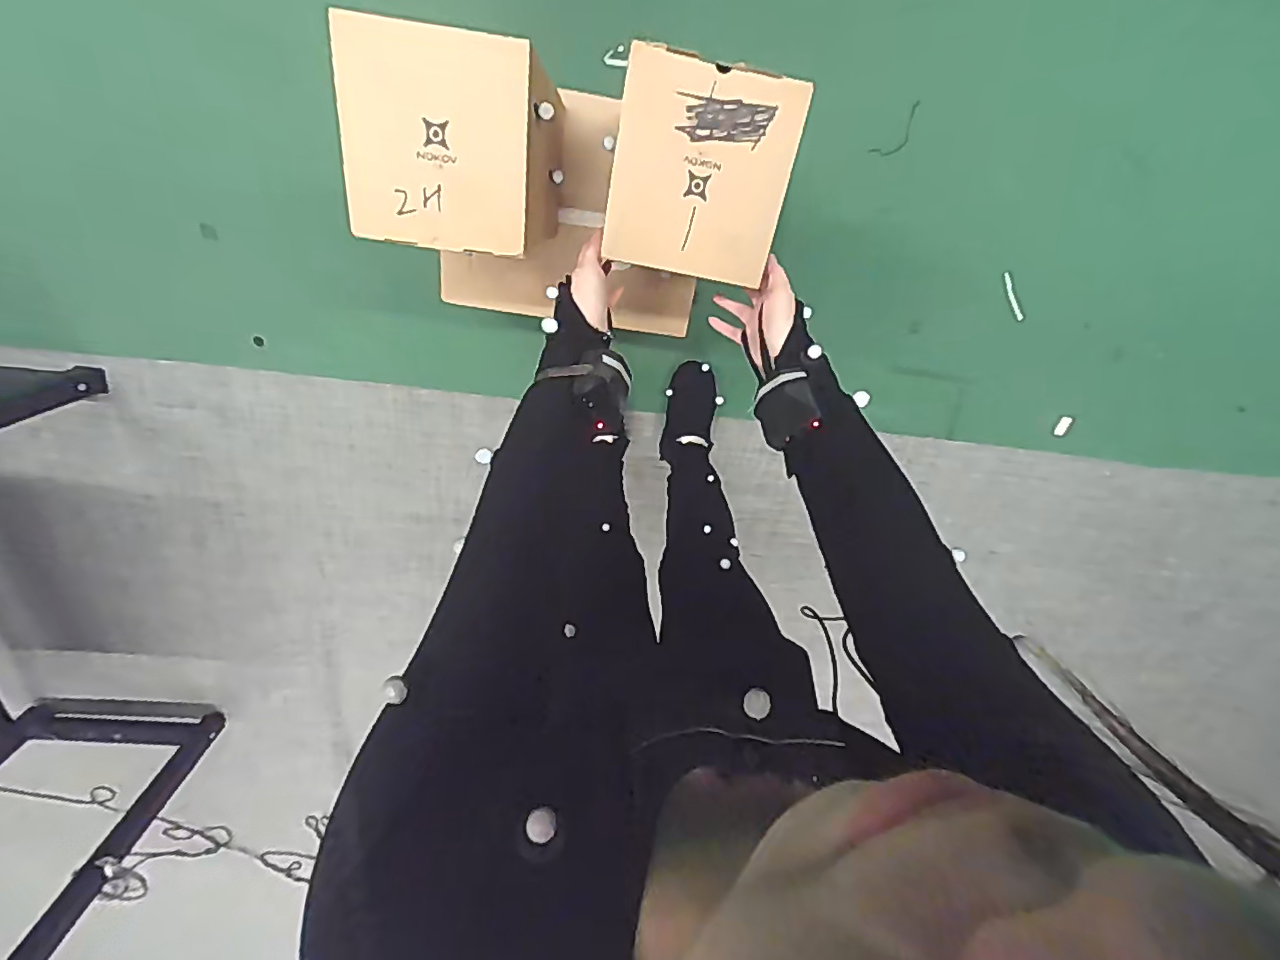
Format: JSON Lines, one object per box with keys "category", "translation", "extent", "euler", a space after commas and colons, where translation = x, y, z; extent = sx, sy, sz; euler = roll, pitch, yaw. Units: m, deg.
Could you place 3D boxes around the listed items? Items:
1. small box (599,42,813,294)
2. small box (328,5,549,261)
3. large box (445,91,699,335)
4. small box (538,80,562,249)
{"category": "small box", "translation": [0.054, -0.310, 0.565], "extent": [0.168, 0.176, 0.179], "euler": [10, 116, -4]}
{"category": "small box", "translation": [-0.188, -0.332, 0.551], "extent": [0.168, 0.176, 0.179], "euler": [6, 115, -5]}
{"category": "large box", "translation": [-0.101, -0.458, 0.946], "extent": [0.408, 0.320, 0.320], "euler": [6, 117, -5]}
{"category": "small box", "translation": [-0.194, -0.408, 0.698], "extent": [0.168, 0.176, 0.179], "euler": [7, 116, -5]}
